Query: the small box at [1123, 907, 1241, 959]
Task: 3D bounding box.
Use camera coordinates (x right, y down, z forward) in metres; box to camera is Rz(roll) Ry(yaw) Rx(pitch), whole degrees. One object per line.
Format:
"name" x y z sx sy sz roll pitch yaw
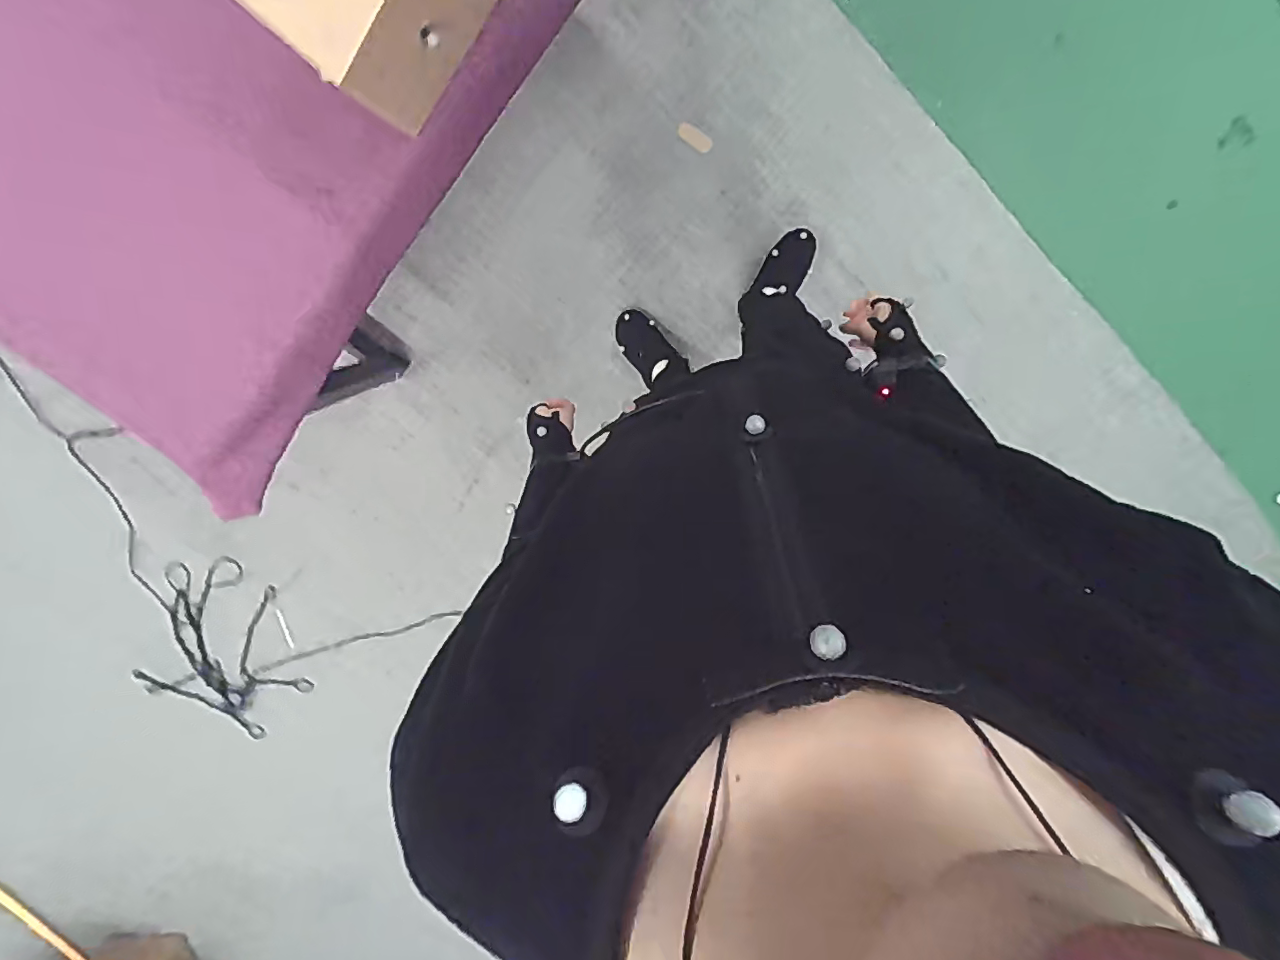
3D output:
"small box" 1.247 1.103 1.197 0.168 0.176 0.179 43 105 -12

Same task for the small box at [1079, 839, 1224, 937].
"small box" 1.260 1.042 1.349 0.168 0.176 0.179 -42 103 13
